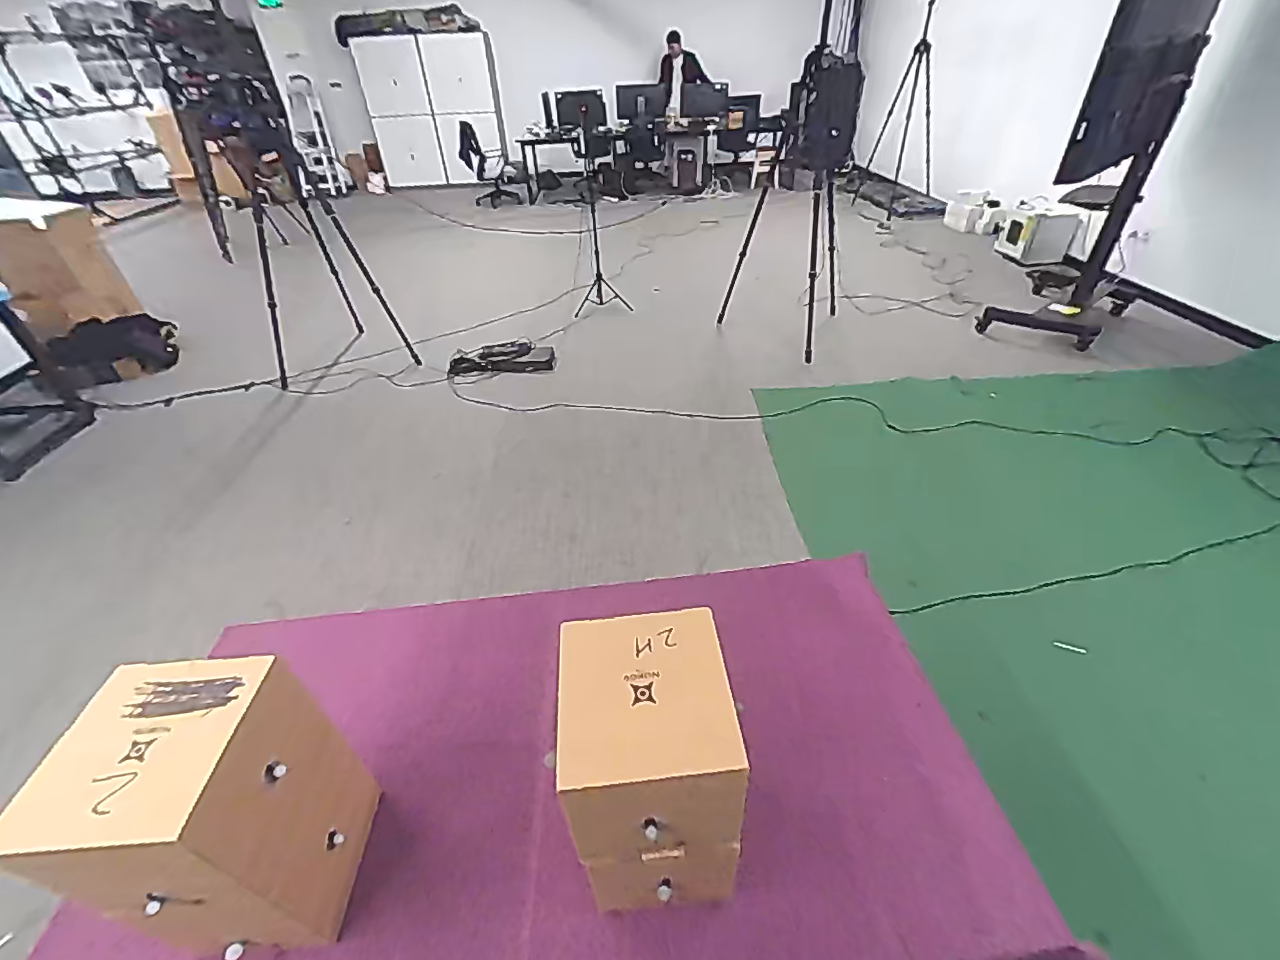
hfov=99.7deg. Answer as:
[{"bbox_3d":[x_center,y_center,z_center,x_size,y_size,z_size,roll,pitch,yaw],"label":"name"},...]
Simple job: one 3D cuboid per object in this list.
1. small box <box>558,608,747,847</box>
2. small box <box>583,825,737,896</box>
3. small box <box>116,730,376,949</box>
[{"bbox_3d":[0.010,0.262,0.571,0.168,0.176,0.179,-5,38,-3],"label":"small box"},{"bbox_3d":[0.020,0.392,0.674,0.168,0.176,0.179,-4,39,-2],"label":"small box"},{"bbox_3d":[-0.444,0.430,0.654,0.168,0.176,0.179,-4,39,-1],"label":"small box"}]
